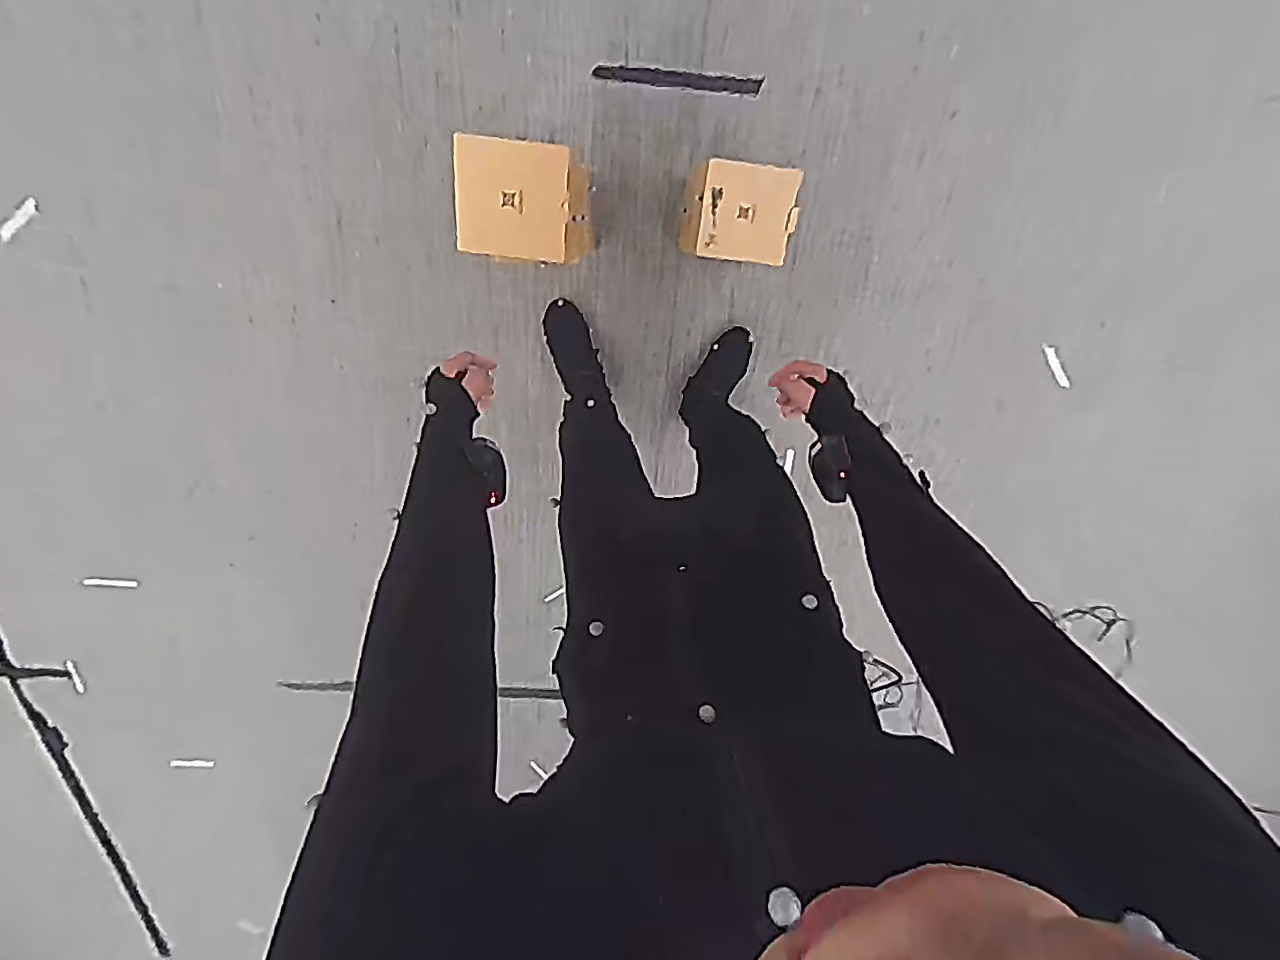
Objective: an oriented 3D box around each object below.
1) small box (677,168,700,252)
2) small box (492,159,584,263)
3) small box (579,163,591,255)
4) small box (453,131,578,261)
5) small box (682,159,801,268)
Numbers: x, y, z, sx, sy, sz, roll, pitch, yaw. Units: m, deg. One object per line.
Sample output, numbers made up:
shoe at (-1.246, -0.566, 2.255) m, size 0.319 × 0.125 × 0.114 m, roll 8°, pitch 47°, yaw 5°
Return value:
small box at (0.184, -0.597, 1.228) m, size 0.179 × 0.176 × 0.168 m, roll 4°, pitch 115°, yaw -6°
small box at (-0.198, -0.526, 1.061) m, size 0.168 × 0.176 × 0.179 m, roll 0°, pitch 116°, yaw -2°
small box at (-0.197, -0.600, 1.208) m, size 0.168 × 0.176 × 0.179 m, roll -1°, pitch 115°, yaw -2°
small box at (-0.202, -0.468, 0.909) m, size 0.179 × 0.176 × 0.168 m, roll 5°, pitch 115°, yaw -5°
small box at (0.192, -0.528, 1.080) m, size 0.179 × 0.176 × 0.168 m, roll 5°, pitch 114°, yaw -7°
